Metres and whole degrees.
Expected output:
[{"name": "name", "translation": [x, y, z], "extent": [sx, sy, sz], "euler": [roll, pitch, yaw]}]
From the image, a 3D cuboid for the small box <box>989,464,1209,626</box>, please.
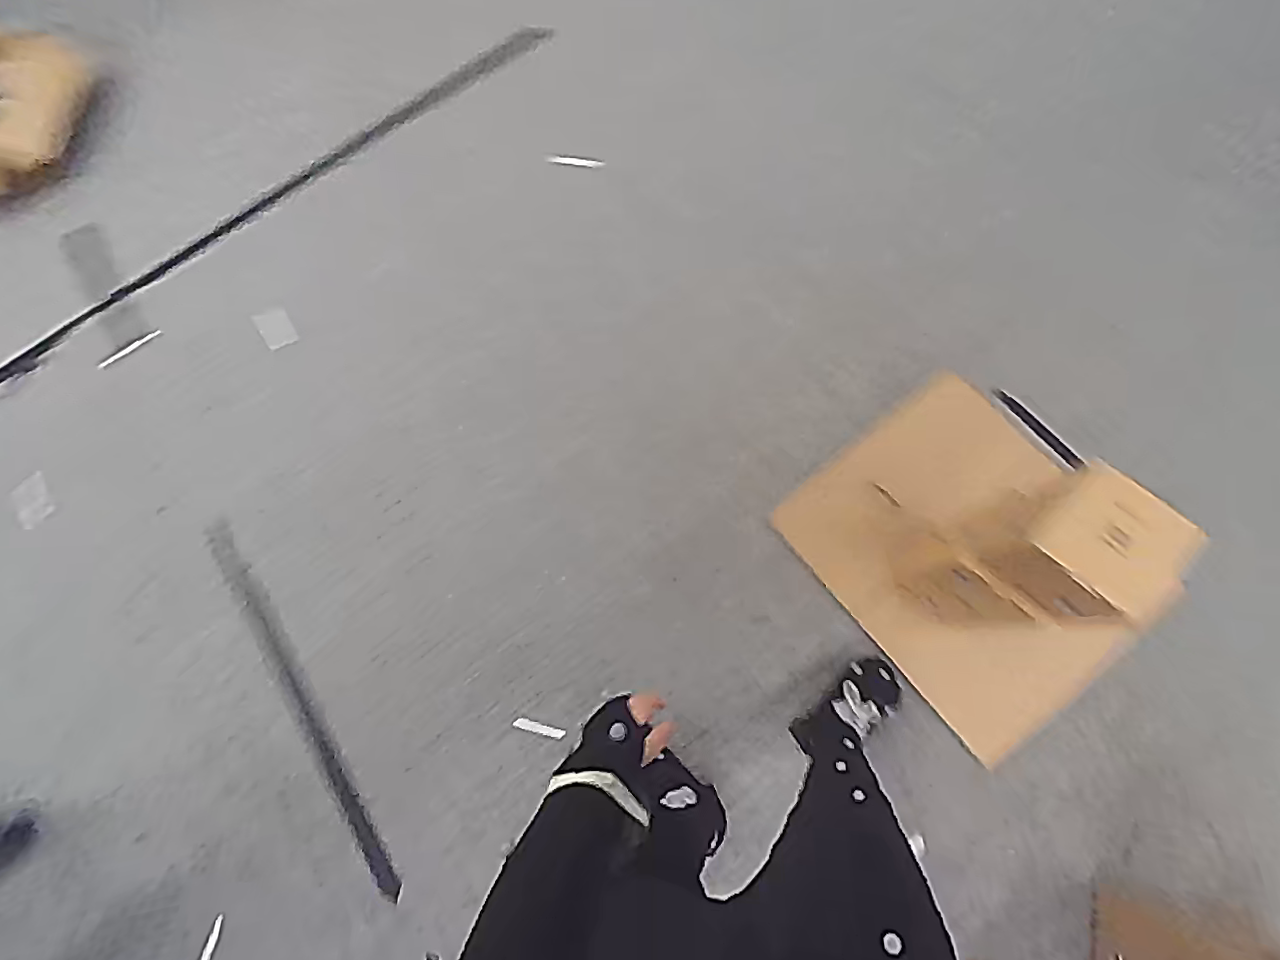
[{"name": "small box", "translation": [0.691, 0.110, 0.844], "extent": [0.168, 0.176, 0.179], "euler": [43, 82, 14]}]
